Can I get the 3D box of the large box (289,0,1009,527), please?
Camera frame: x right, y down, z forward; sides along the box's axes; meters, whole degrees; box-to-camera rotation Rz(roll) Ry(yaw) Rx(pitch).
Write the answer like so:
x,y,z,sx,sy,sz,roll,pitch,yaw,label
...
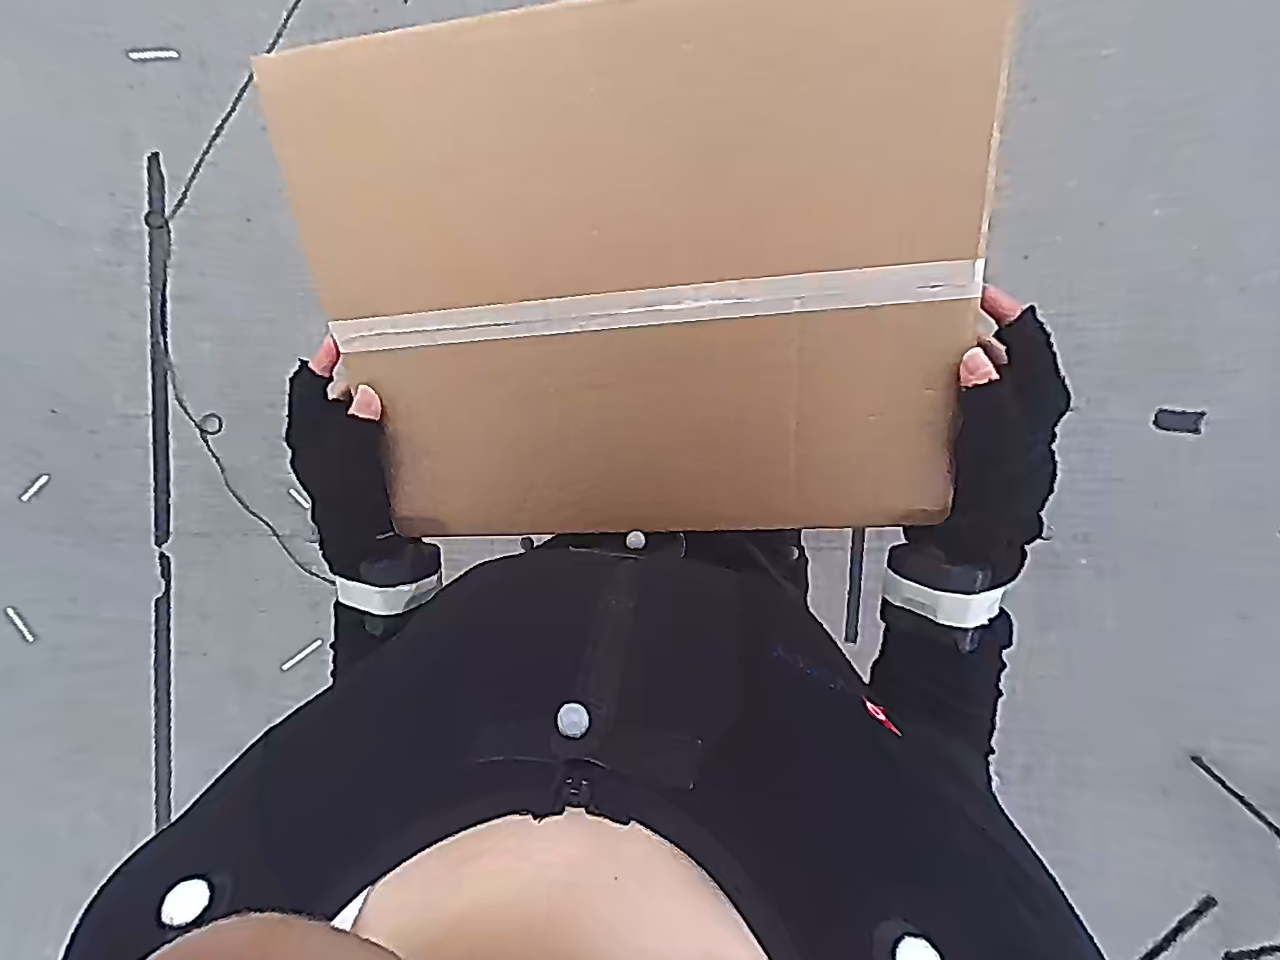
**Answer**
x,y,z,sx,sy,sz,roll,pitch,yaw,label
0.017,-0.169,0.480,0.408,0.320,0.320,-2,114,9,large box
